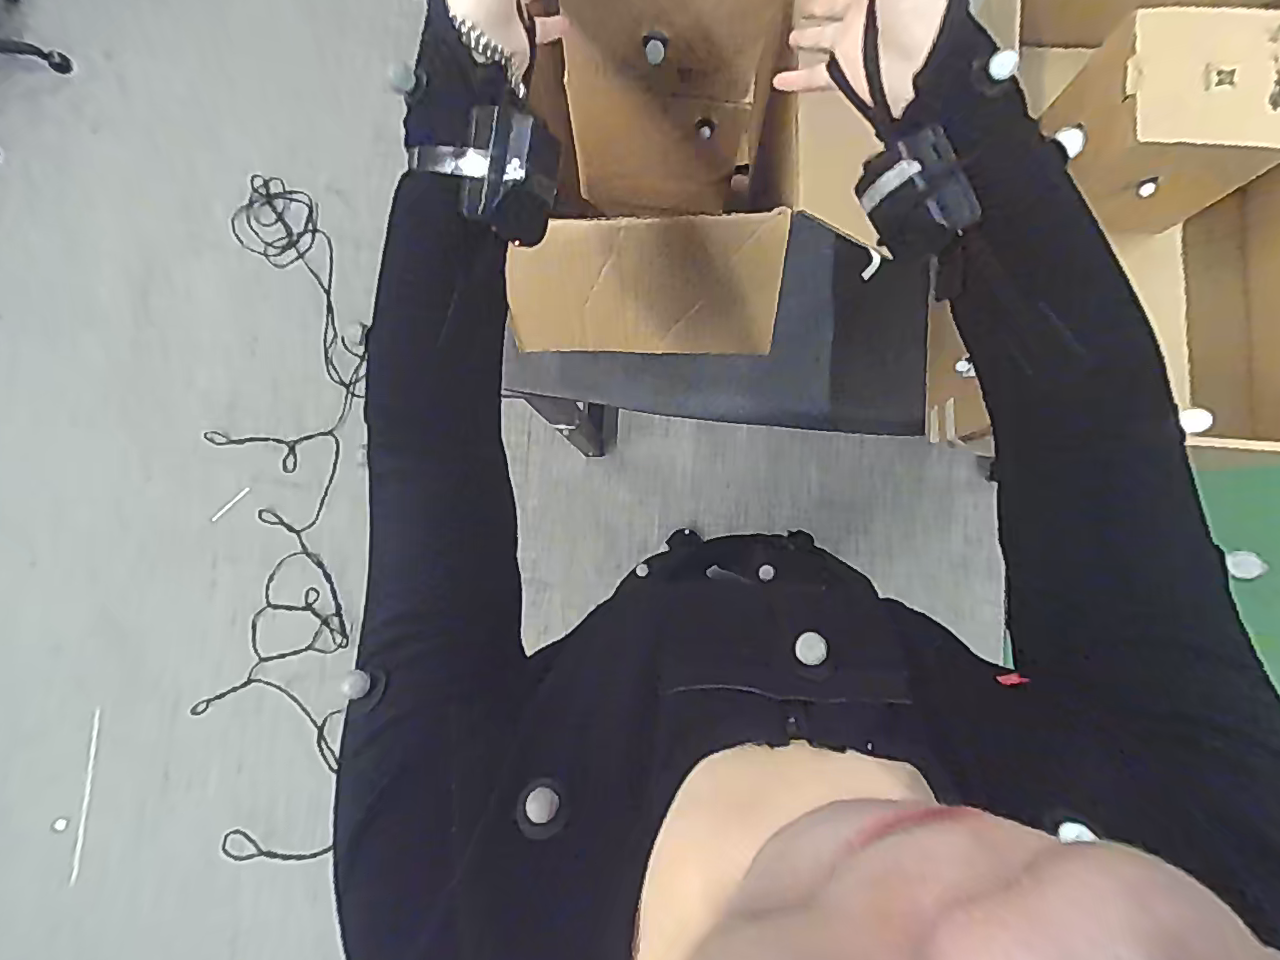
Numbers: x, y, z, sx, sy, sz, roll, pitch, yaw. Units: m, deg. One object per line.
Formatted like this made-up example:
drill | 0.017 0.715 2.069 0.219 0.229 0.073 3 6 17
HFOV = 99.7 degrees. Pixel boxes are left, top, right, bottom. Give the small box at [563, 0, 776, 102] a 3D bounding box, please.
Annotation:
small box | 0.025 -0.444 0.420 0.168 0.176 0.179 3 83 -1
